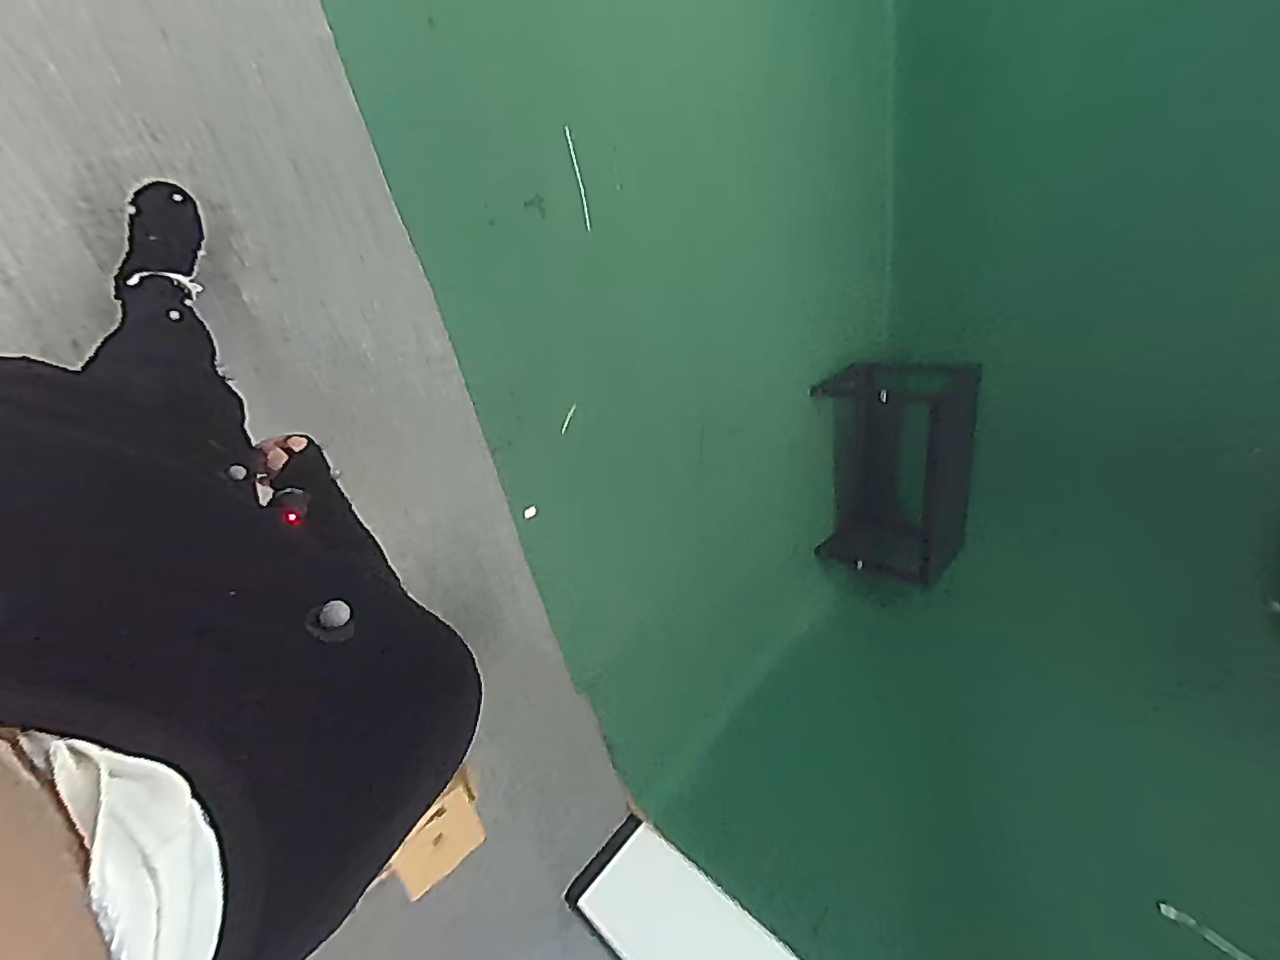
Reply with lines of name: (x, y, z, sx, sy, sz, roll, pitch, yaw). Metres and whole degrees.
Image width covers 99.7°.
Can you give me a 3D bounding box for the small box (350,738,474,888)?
small box: (-0.484, 0.696, 1.150, 0.168, 0.176, 0.179, -28, 120, -36)
